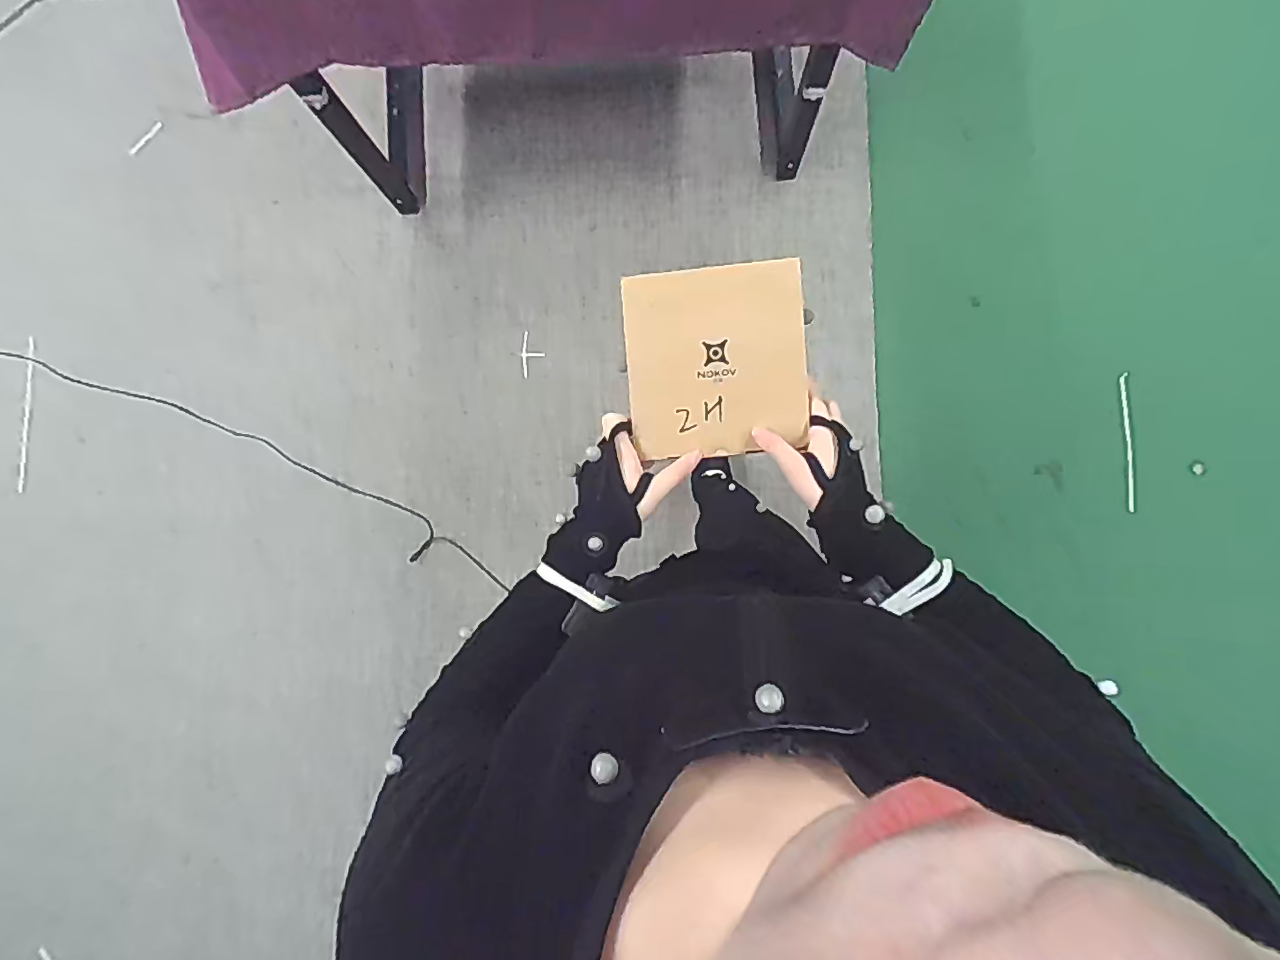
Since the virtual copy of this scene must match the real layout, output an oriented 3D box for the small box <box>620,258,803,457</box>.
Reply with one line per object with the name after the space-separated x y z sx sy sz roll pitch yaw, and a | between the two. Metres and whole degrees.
0.072 -0.116 0.580 0.168 0.176 0.179 -4 93 6 | small box
